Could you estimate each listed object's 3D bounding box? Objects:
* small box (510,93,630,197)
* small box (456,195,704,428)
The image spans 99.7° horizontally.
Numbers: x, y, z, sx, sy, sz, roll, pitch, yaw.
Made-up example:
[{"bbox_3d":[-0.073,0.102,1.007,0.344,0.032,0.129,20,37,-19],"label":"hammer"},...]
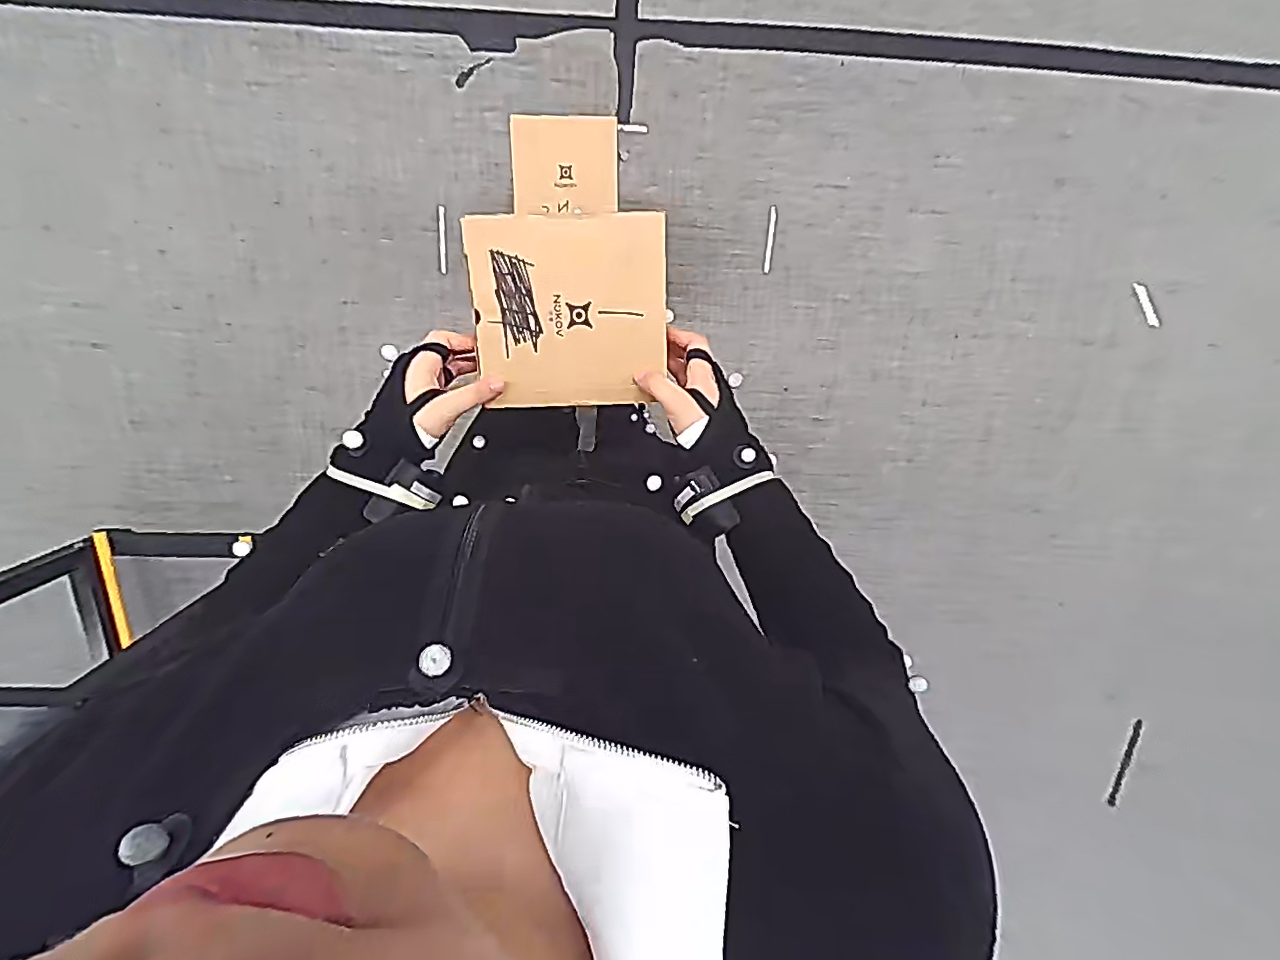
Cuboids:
[{"bbox_3d":[-0.101,-0.464,0.836,0.168,0.176,0.179,0,107,-1],"label":"small box"},{"bbox_3d":[-0.043,-0.143,0.476,0.179,0.176,0.168,-3,108,-3],"label":"small box"}]
